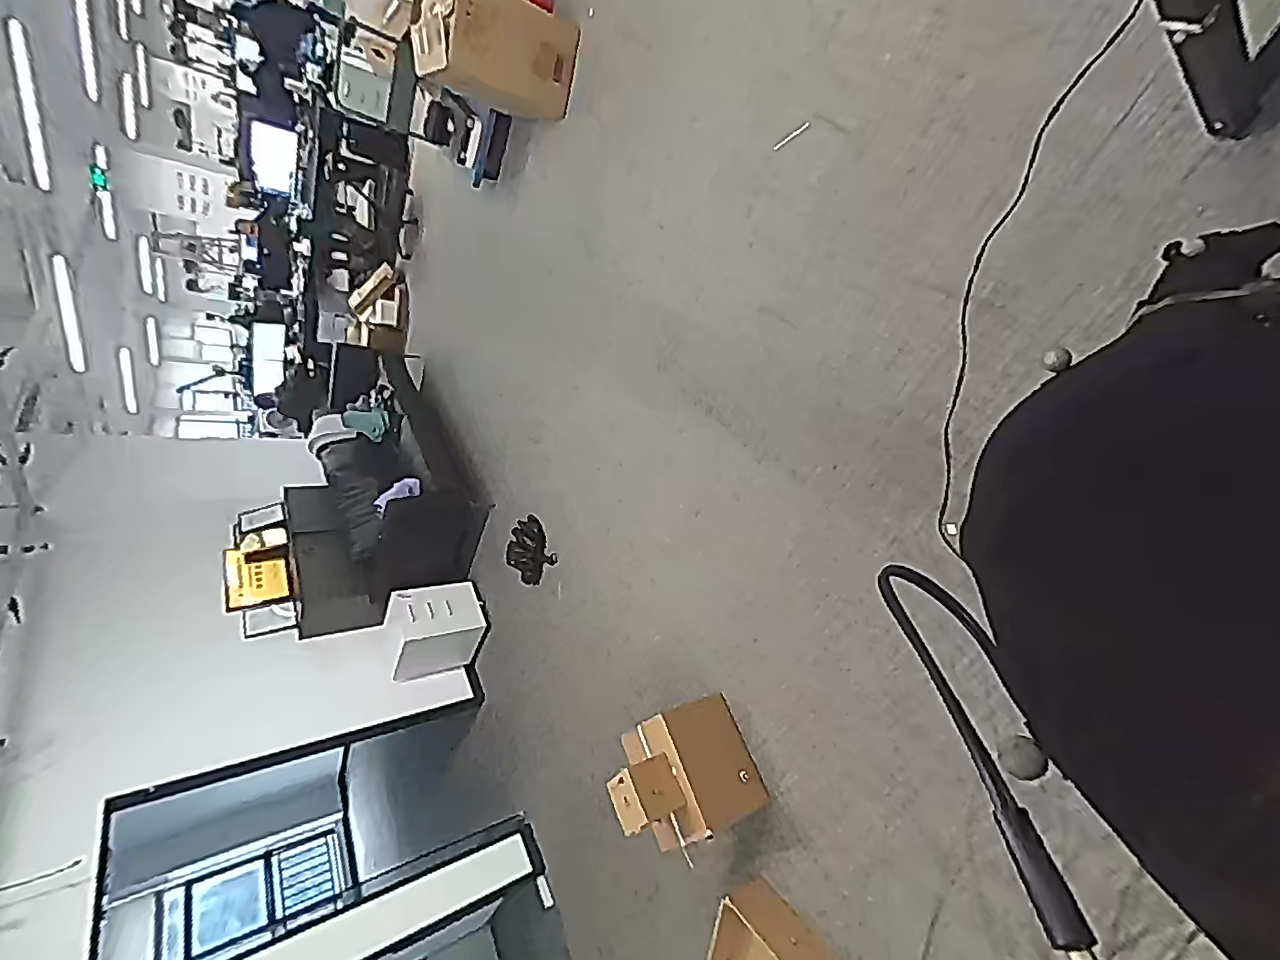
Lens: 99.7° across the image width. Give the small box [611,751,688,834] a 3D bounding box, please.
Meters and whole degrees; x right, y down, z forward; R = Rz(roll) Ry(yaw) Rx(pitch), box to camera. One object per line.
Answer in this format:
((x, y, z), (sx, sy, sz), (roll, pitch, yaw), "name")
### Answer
((0.035, 1.067, 1.857), (0.168, 0.176, 0.179), (-57, 51, 36), "small box")
